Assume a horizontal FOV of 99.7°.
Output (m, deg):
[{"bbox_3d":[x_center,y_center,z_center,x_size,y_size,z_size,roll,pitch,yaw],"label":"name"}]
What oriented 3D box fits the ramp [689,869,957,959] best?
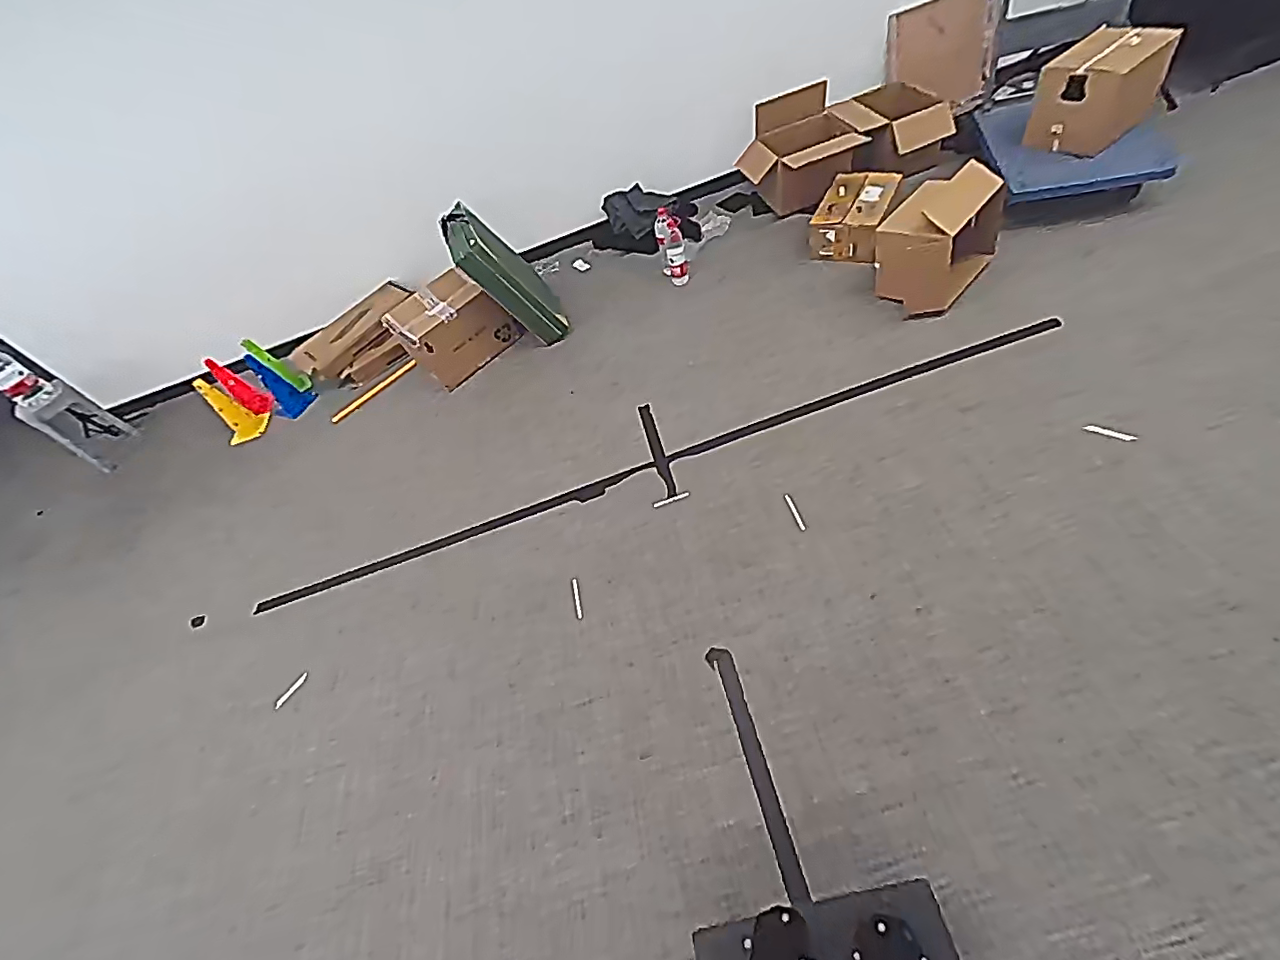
[{"bbox_3d":[0.443,1.267,0.862,0.509,0.206,0.991,-18,51,3],"label":"ramp"}]
